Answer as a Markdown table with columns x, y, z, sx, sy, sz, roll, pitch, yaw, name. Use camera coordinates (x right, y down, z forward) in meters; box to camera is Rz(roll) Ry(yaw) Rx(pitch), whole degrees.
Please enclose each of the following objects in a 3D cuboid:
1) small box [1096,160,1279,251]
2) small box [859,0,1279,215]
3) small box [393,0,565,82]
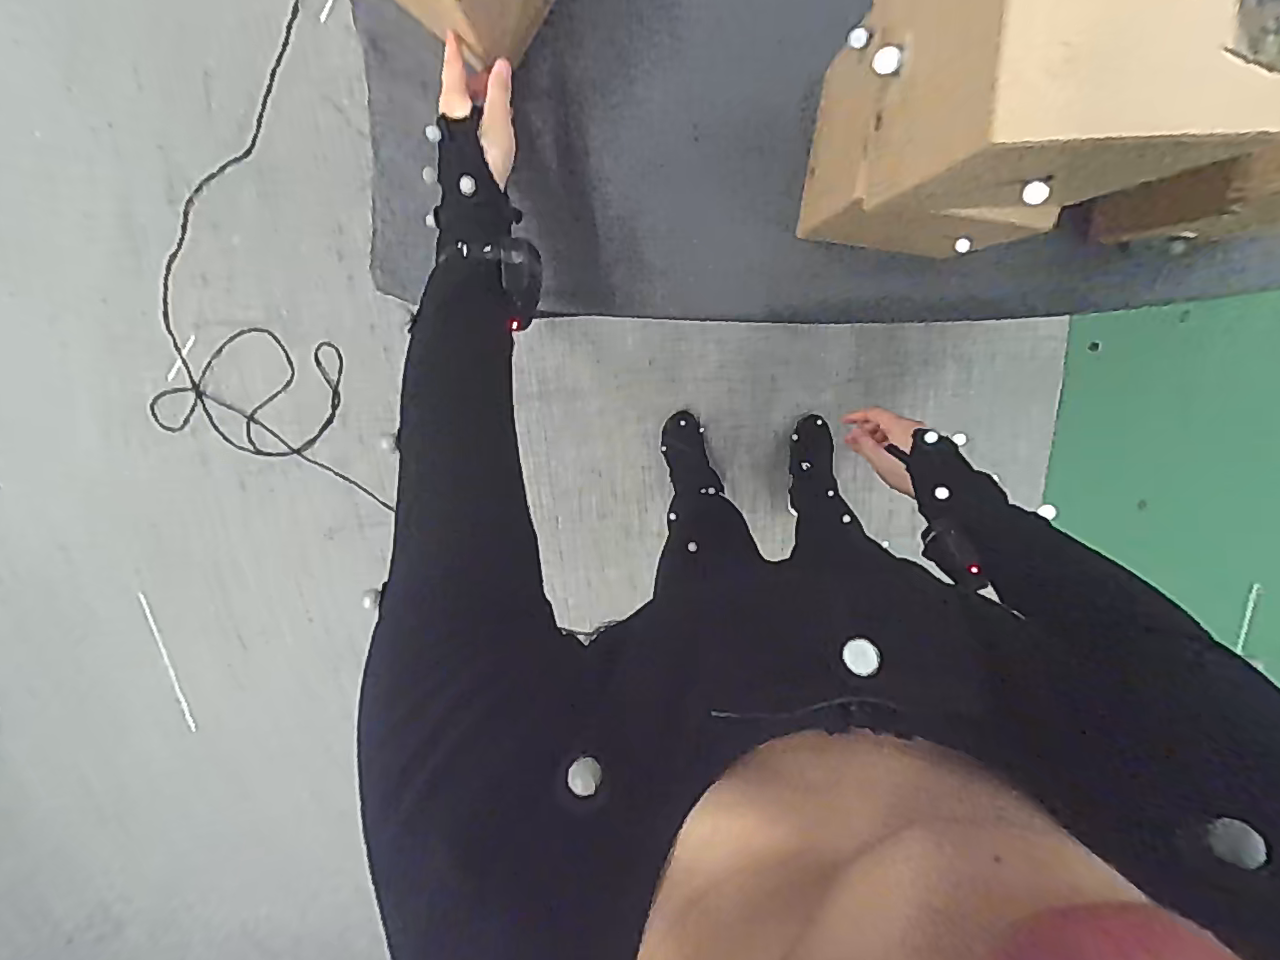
| x | y | z | sx | sy | sz | roll | pitch | yaw | name |
| --- | --- | --- | --- | --- | --- | --- | --- | --- | --- |
| 0.586 | -0.327 | 0.512 | 0.168 | 0.176 | 0.179 | -2 | 105 | 1 | small box |
| 0.267 | -0.281 | 0.352 | 0.179 | 0.176 | 0.168 | -2 | 104 | 1 | small box |
| -0.160 | -0.496 | 0.461 | 0.179 | 0.176 | 0.168 | 36 | 103 | -10 | small box |
